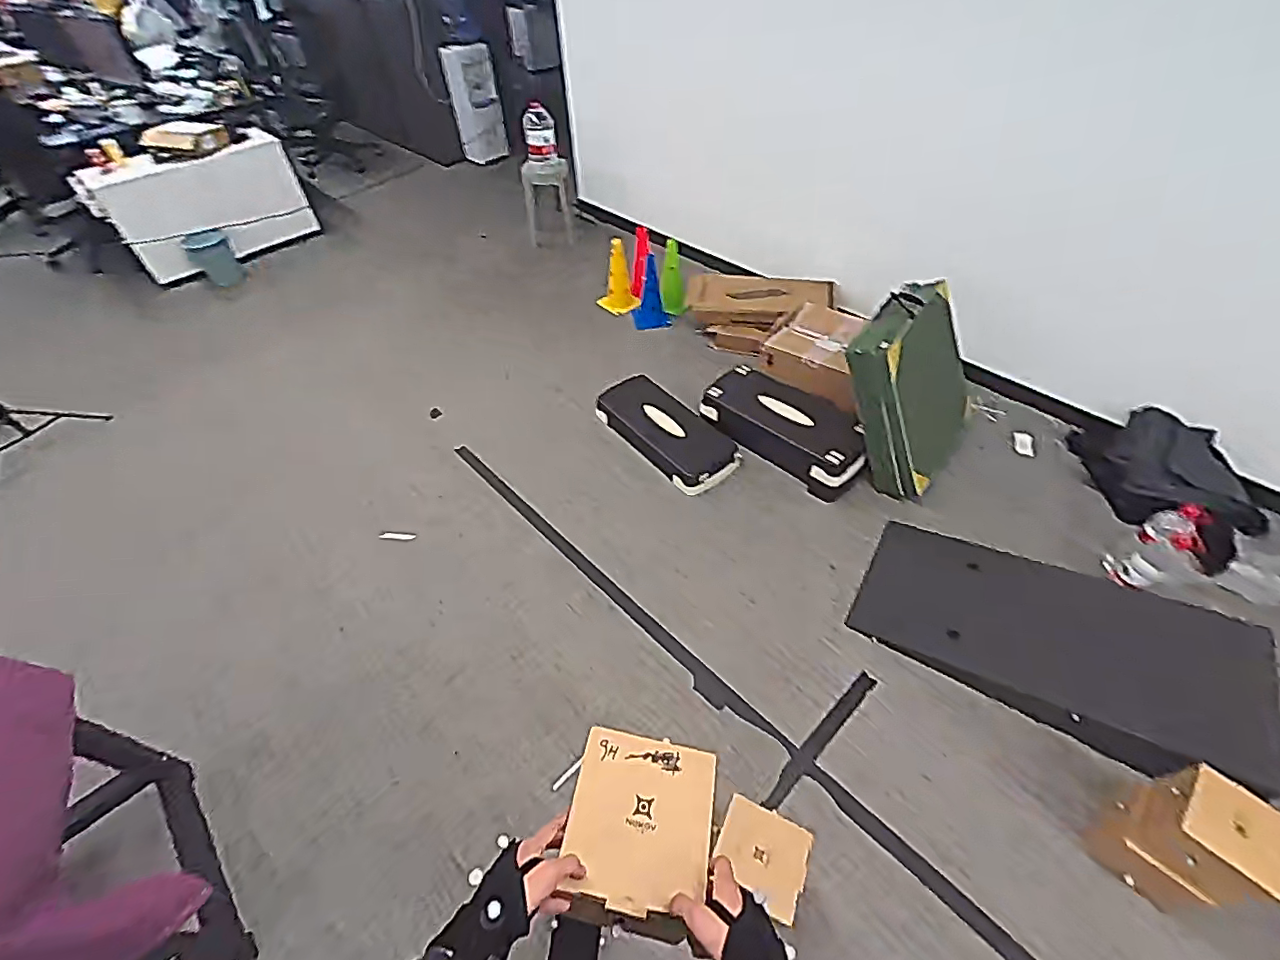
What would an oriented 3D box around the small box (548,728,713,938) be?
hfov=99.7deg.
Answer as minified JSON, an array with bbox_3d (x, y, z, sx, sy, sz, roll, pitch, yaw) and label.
[{"bbox_3d":[-0.010,0.449,0.686,0.168,0.176,0.179,11,44,3],"label":"small box"}]
